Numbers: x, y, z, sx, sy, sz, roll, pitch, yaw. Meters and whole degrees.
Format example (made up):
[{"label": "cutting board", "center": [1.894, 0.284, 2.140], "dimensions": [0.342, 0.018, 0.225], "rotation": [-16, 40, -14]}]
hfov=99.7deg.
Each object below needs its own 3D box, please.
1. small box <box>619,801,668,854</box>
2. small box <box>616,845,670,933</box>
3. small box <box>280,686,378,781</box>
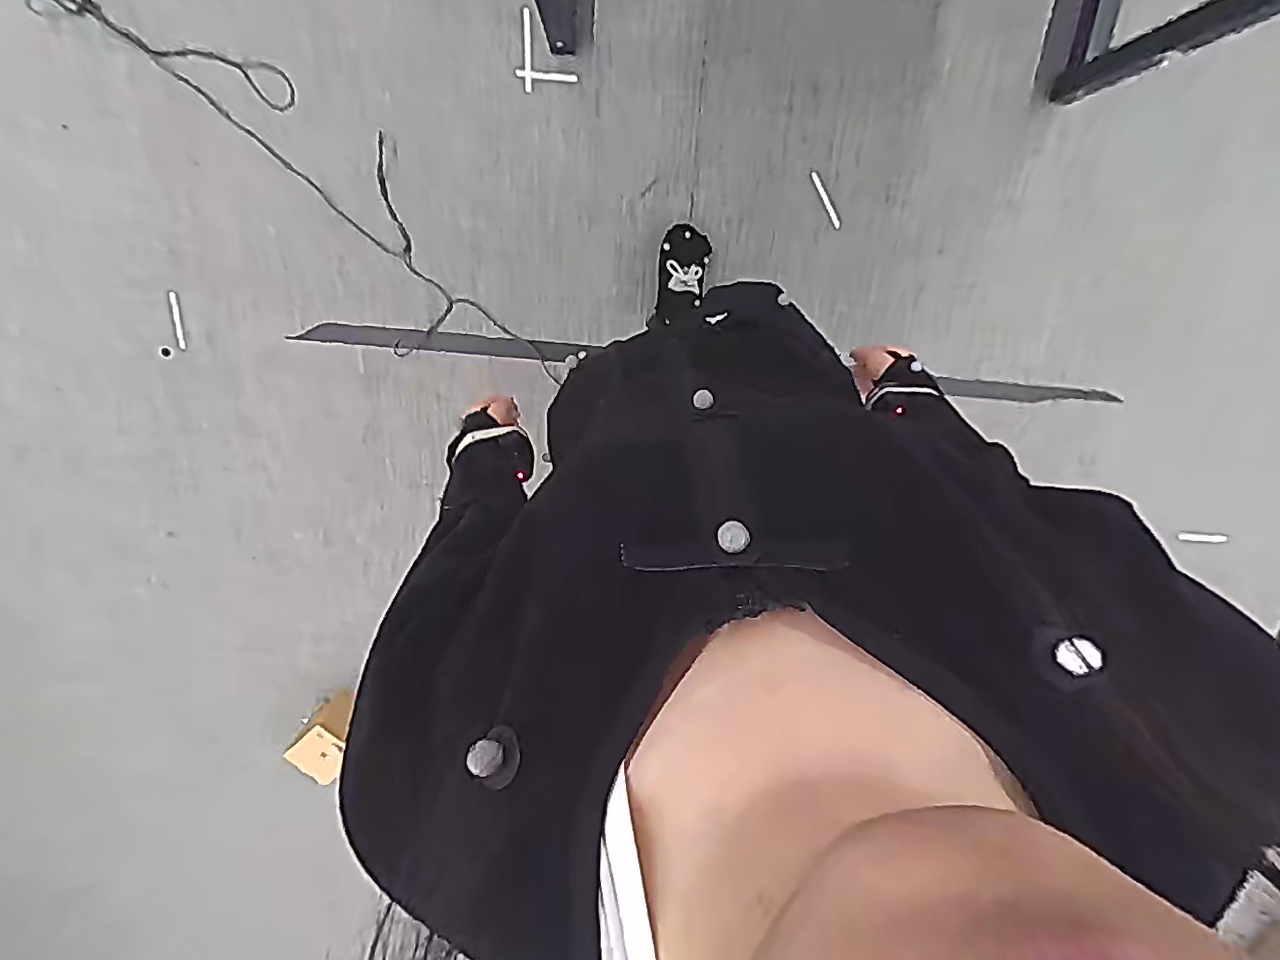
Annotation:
[{"label": "small box", "center": [0.008, 1.263, 1.906], "dimensions": [0.168, 0.176, 0.179], "rotation": [0, 111, -1]}, {"label": "small box", "center": [0.007, 1.318, 1.750], "dimensions": [0.168, 0.176, 0.179], "rotation": [1, 110, -1]}, {"label": "small box", "center": [-0.972, 0.798, 1.709], "dimensions": [0.179, 0.176, 0.168], "rotation": [-40, 105, 12]}]
